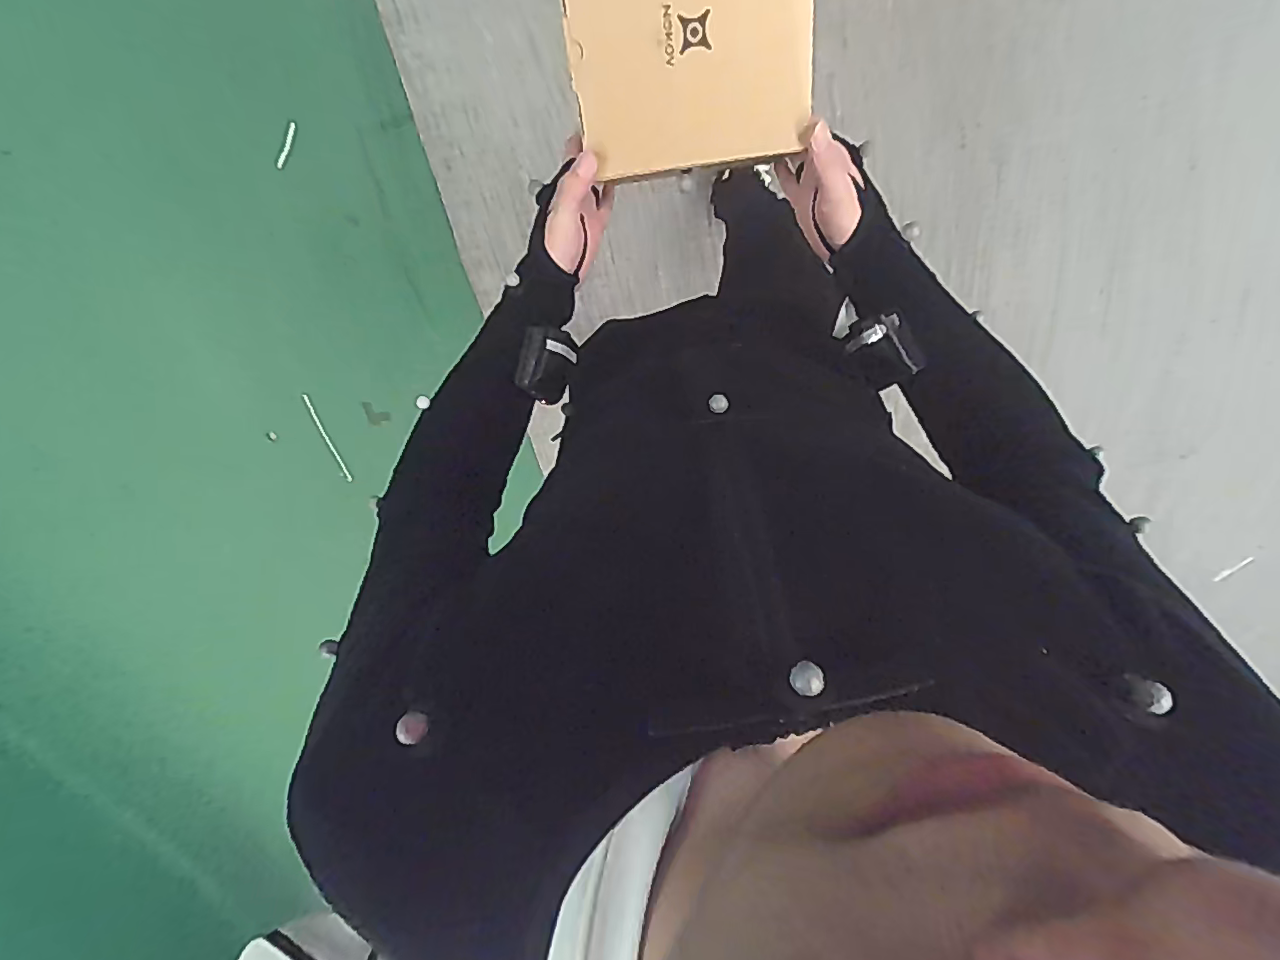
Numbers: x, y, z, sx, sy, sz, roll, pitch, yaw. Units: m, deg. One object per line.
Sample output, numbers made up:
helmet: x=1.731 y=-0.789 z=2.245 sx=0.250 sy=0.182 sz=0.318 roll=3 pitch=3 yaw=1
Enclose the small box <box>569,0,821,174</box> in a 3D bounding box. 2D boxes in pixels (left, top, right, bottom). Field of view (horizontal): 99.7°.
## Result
small box: x=0.045 y=-0.361 z=0.450 sx=0.179 sy=0.176 sz=0.168 roll=-4 pitch=118 yaw=8
